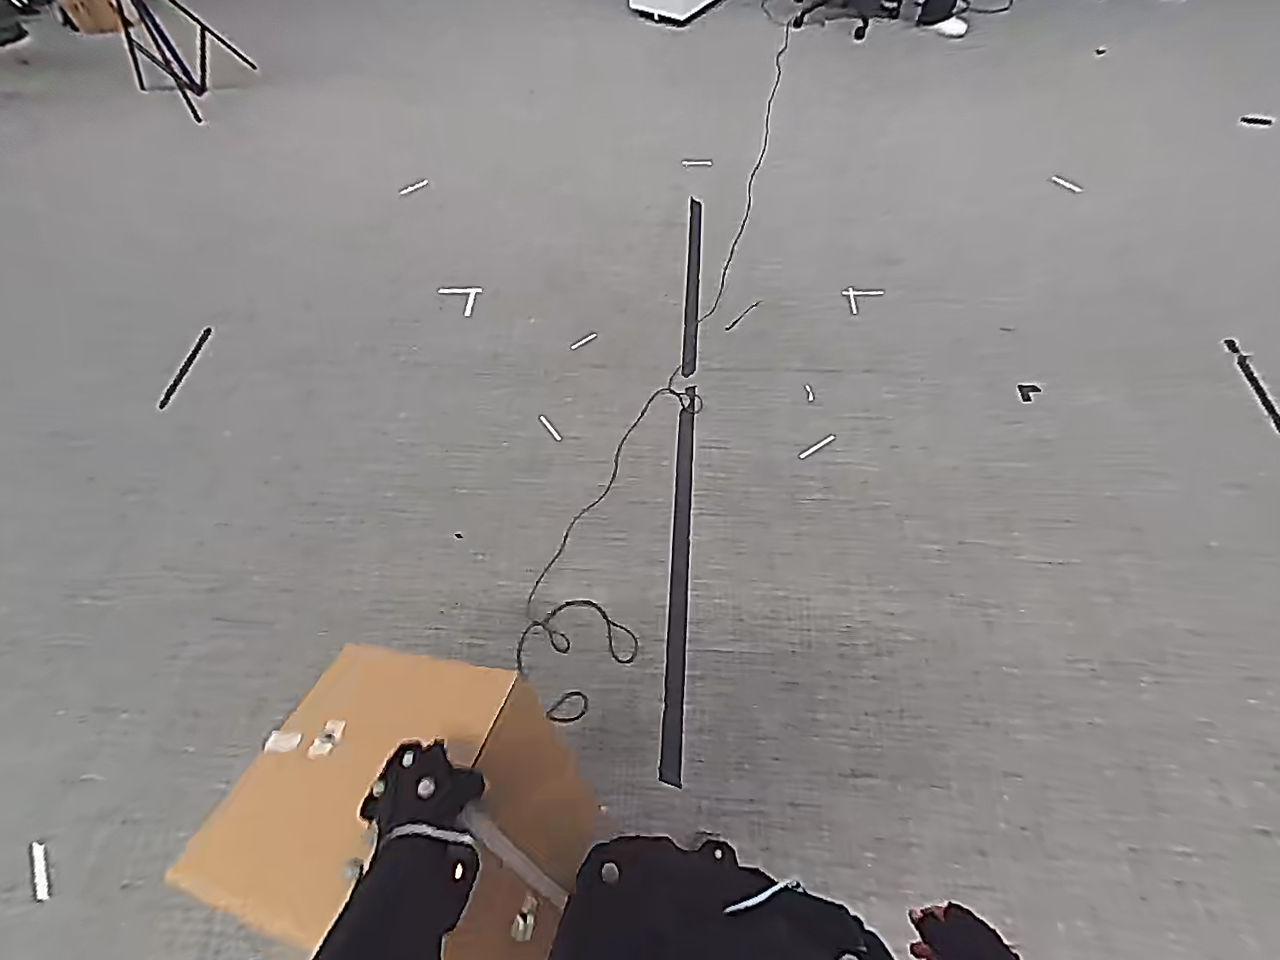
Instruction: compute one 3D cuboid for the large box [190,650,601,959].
[{"bbox_3d":[-0.293,0.505,0.780,0.320,0.408,0.320,4,41,22],"label":"large box"}]
